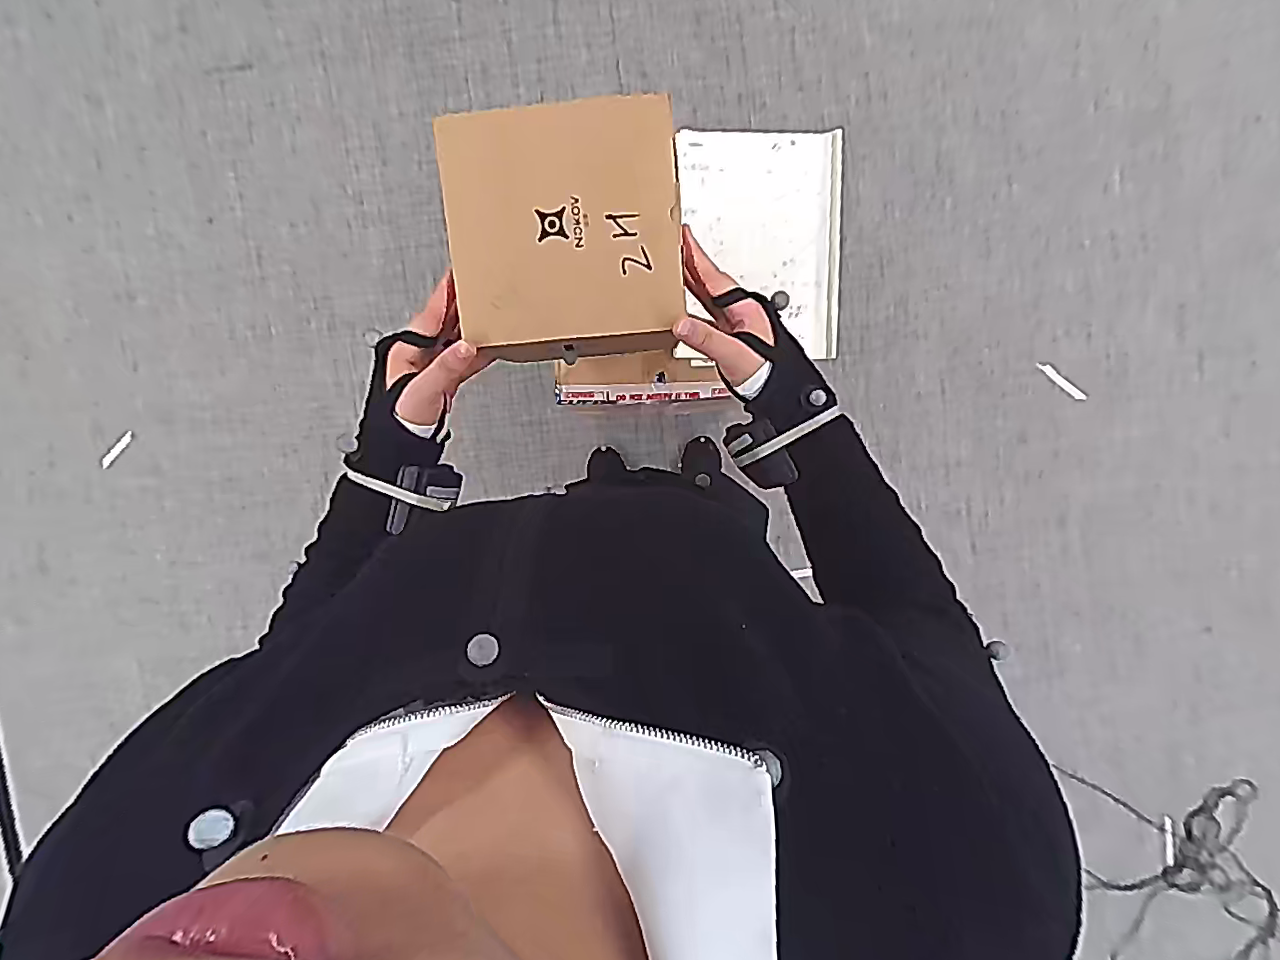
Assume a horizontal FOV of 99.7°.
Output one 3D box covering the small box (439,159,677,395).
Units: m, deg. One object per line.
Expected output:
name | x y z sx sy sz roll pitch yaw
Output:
small box | -0.060 -0.166 0.495 0.179 0.176 0.168 -4 99 1

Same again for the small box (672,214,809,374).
small box | 0.126 -0.249 0.759 0.168 0.176 0.179 0 95 -2
